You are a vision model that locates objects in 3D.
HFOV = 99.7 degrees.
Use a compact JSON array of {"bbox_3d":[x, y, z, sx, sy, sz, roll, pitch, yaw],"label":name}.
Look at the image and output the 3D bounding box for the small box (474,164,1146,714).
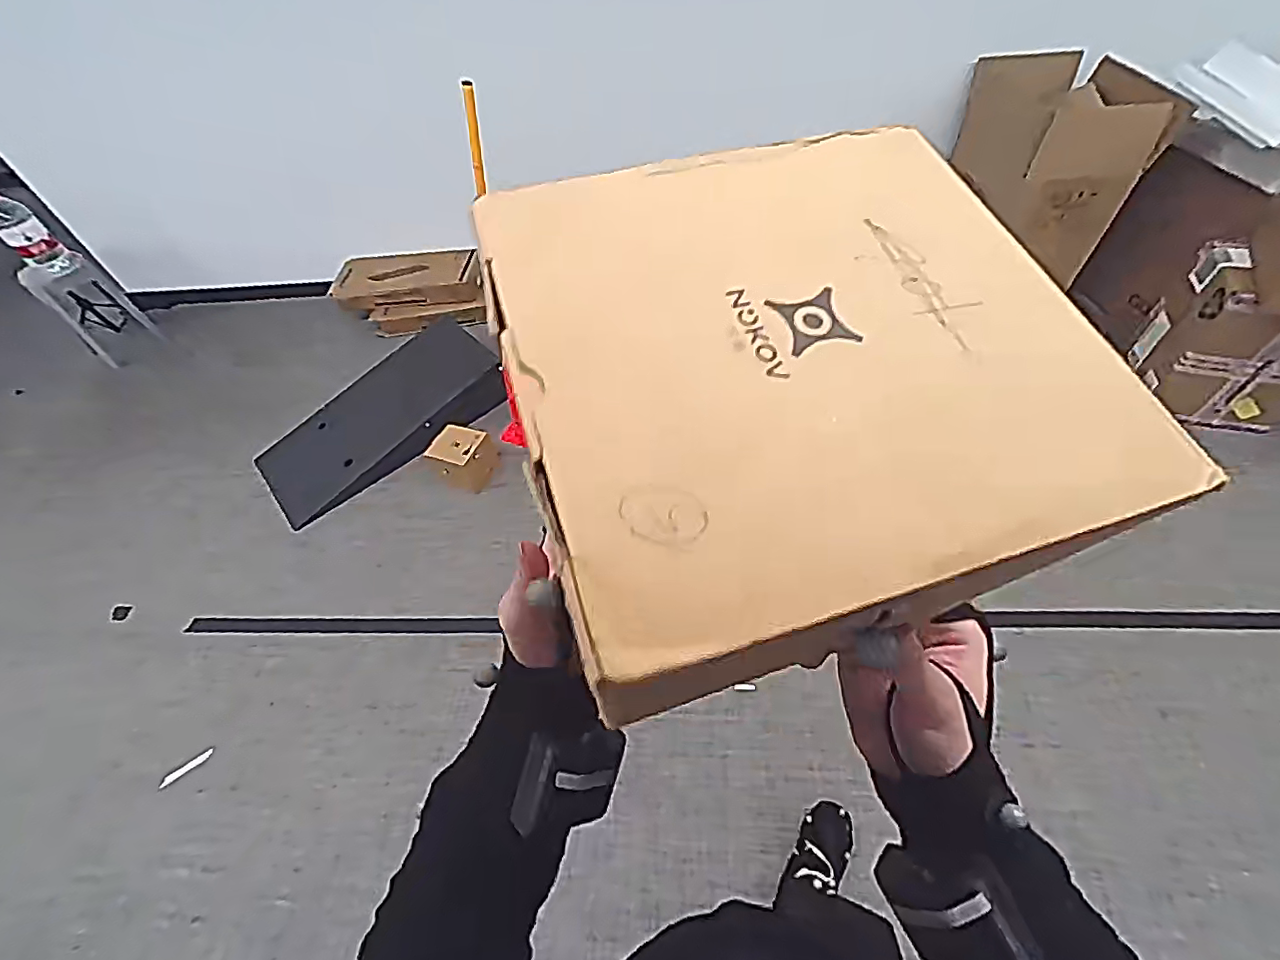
[{"bbox_3d":[0.042,-0.004,0.250,0.179,0.176,0.168,-16,65,-11],"label":"small box"}]
